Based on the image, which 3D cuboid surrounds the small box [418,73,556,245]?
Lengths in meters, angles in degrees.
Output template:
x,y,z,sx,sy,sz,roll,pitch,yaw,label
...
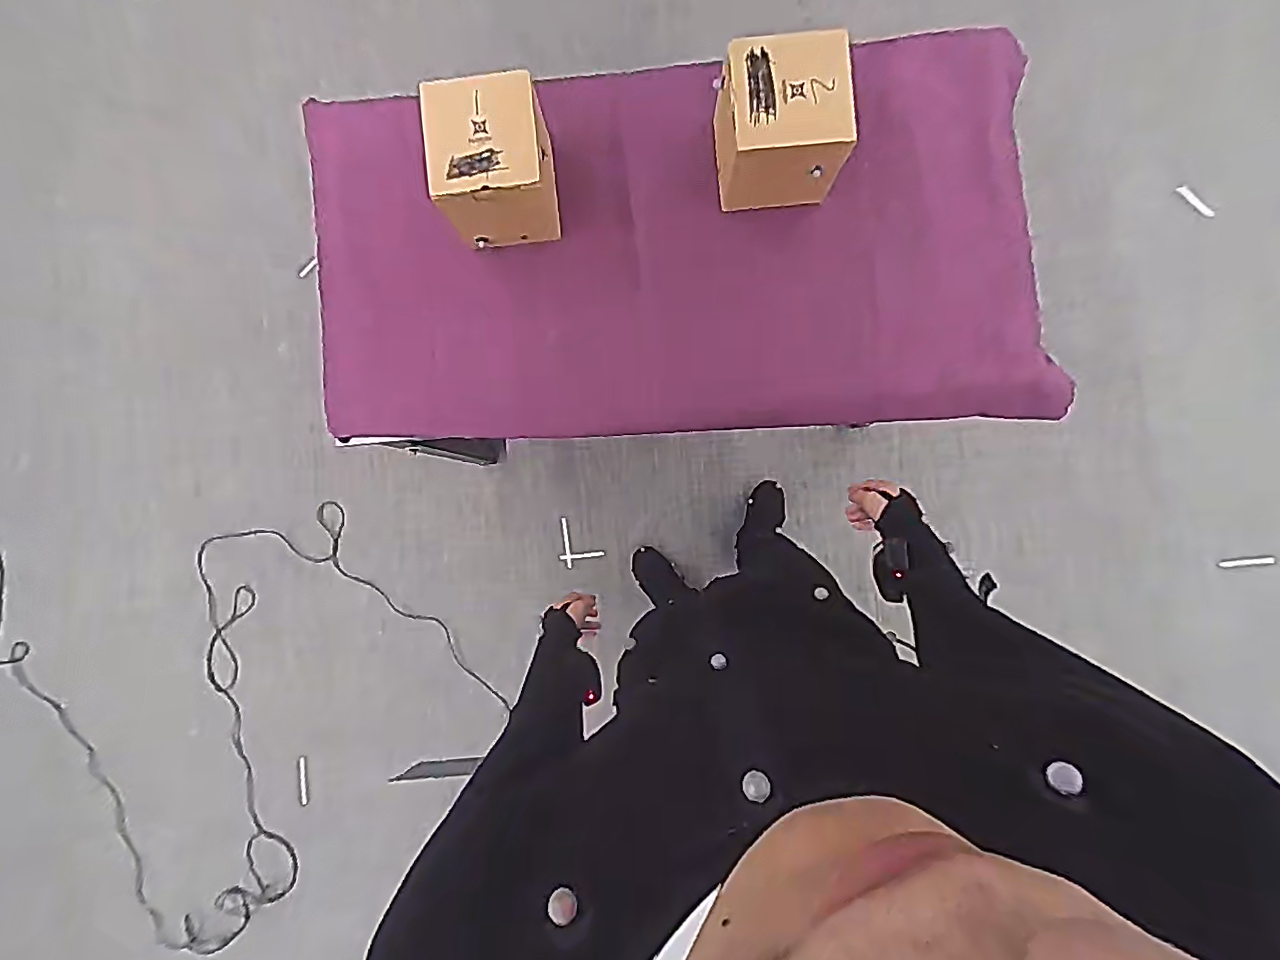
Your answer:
x,y,z,sx,sy,sz,roll,pitch,yaw,label
-0.235,-0.498,0.868,0.168,0.176,0.179,-6,87,1,small box
